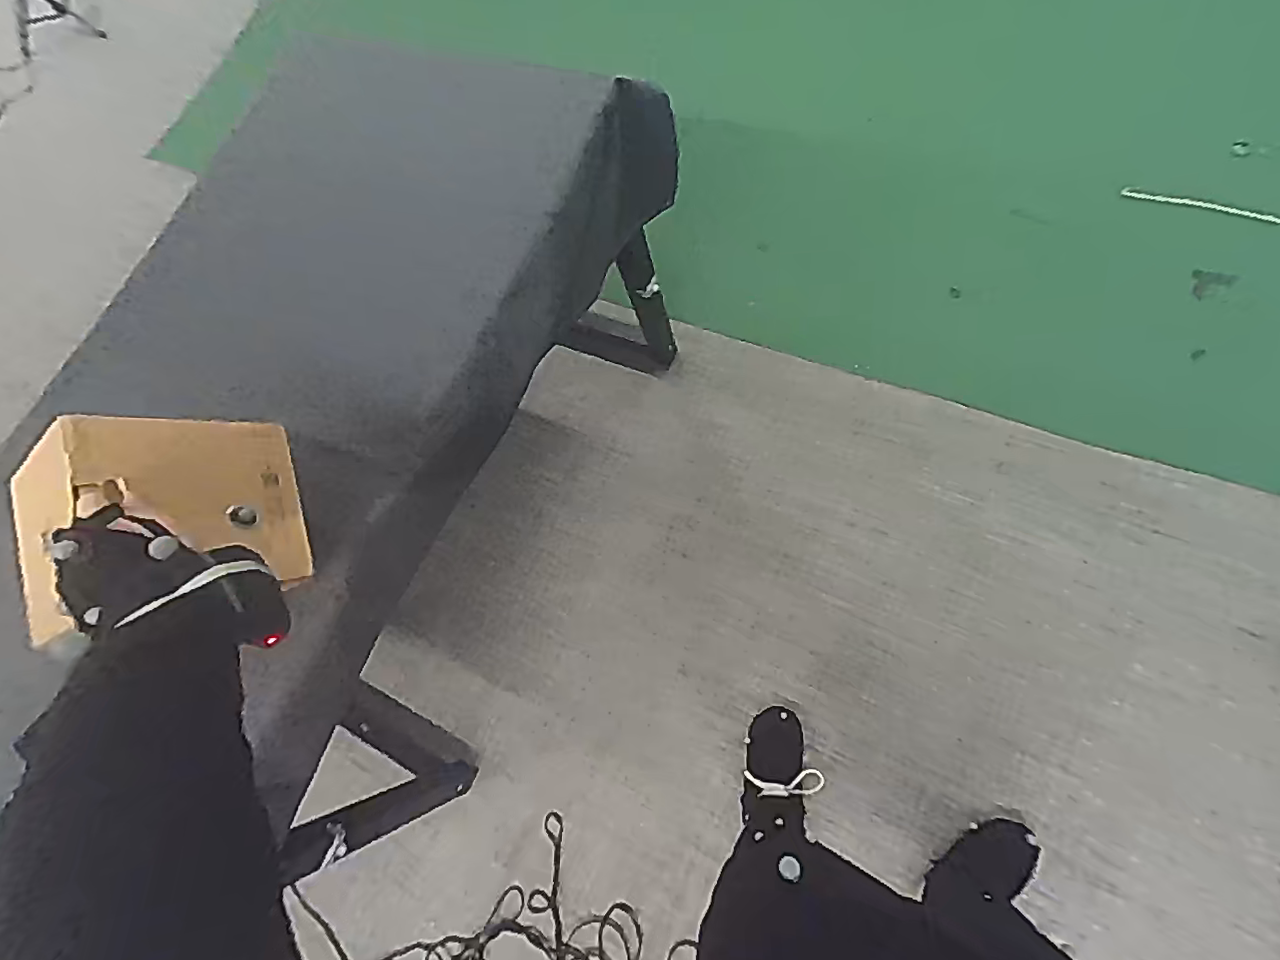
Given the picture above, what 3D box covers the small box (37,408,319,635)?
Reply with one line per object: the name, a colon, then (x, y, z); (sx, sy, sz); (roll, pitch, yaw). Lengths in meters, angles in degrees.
small box: (-0.451, 0.045, 0.534); (0.179, 0.176, 0.168); (-19, 78, 29)
